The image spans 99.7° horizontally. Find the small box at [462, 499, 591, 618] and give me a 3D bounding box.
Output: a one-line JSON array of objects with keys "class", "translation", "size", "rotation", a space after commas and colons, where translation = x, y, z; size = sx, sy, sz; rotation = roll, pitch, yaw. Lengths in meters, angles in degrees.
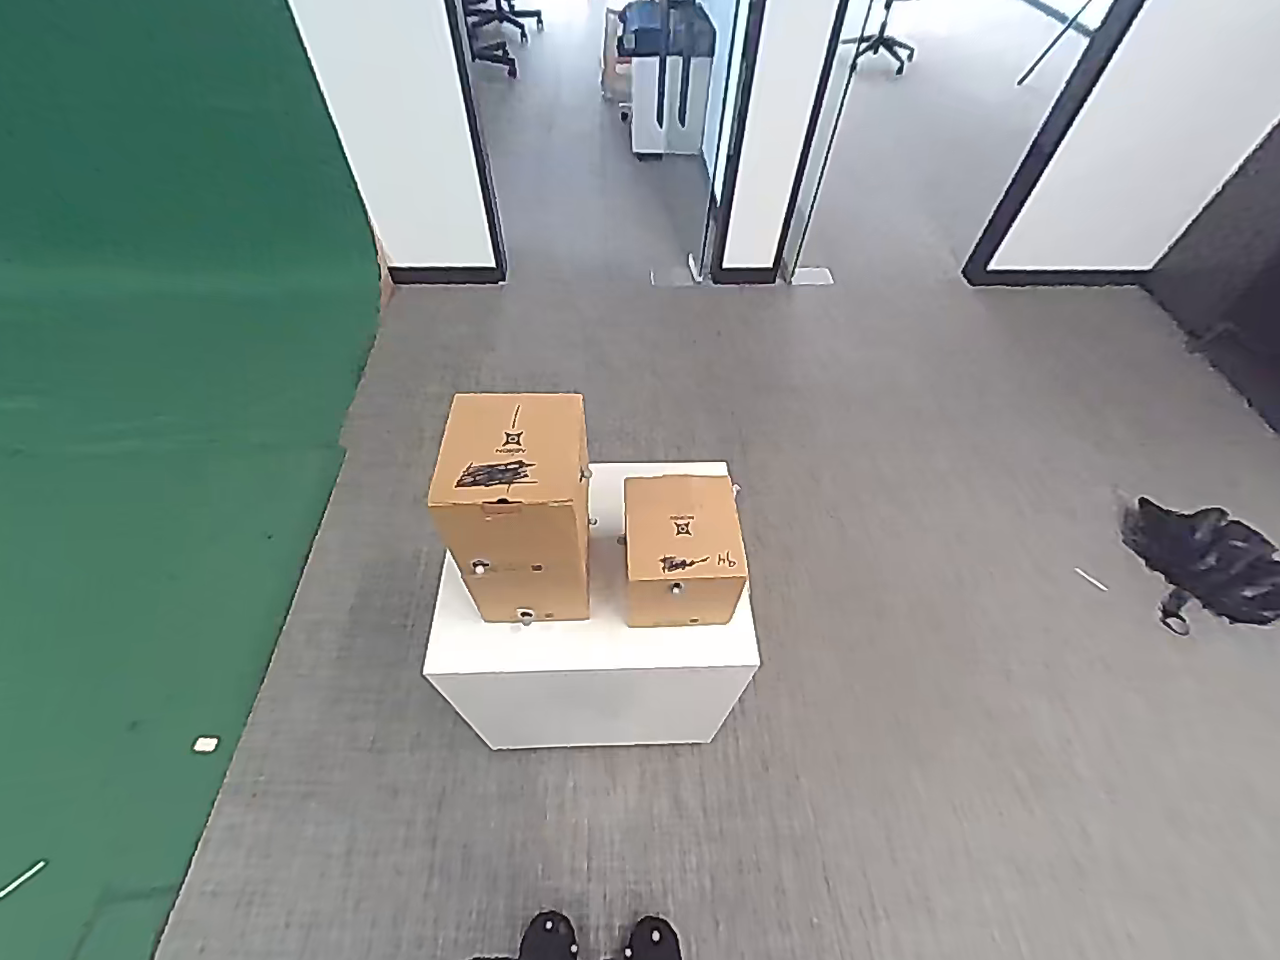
[{"class": "small box", "translation": [-0.164, 0.096, 0.835], "size": [0.168, 0.176, 0.179], "rotation": [-2, 54, -4]}]

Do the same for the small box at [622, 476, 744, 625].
[{"class": "small box", "translation": [0.056, 0.112, 0.849], "size": [0.168, 0.176, 0.179], "rotation": [0, 52, -3]}]

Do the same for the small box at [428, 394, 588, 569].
[{"class": "small box", "translation": [-0.158, 0.006, 0.718], "size": [0.168, 0.176, 0.179], "rotation": [0, 51, -1]}]
